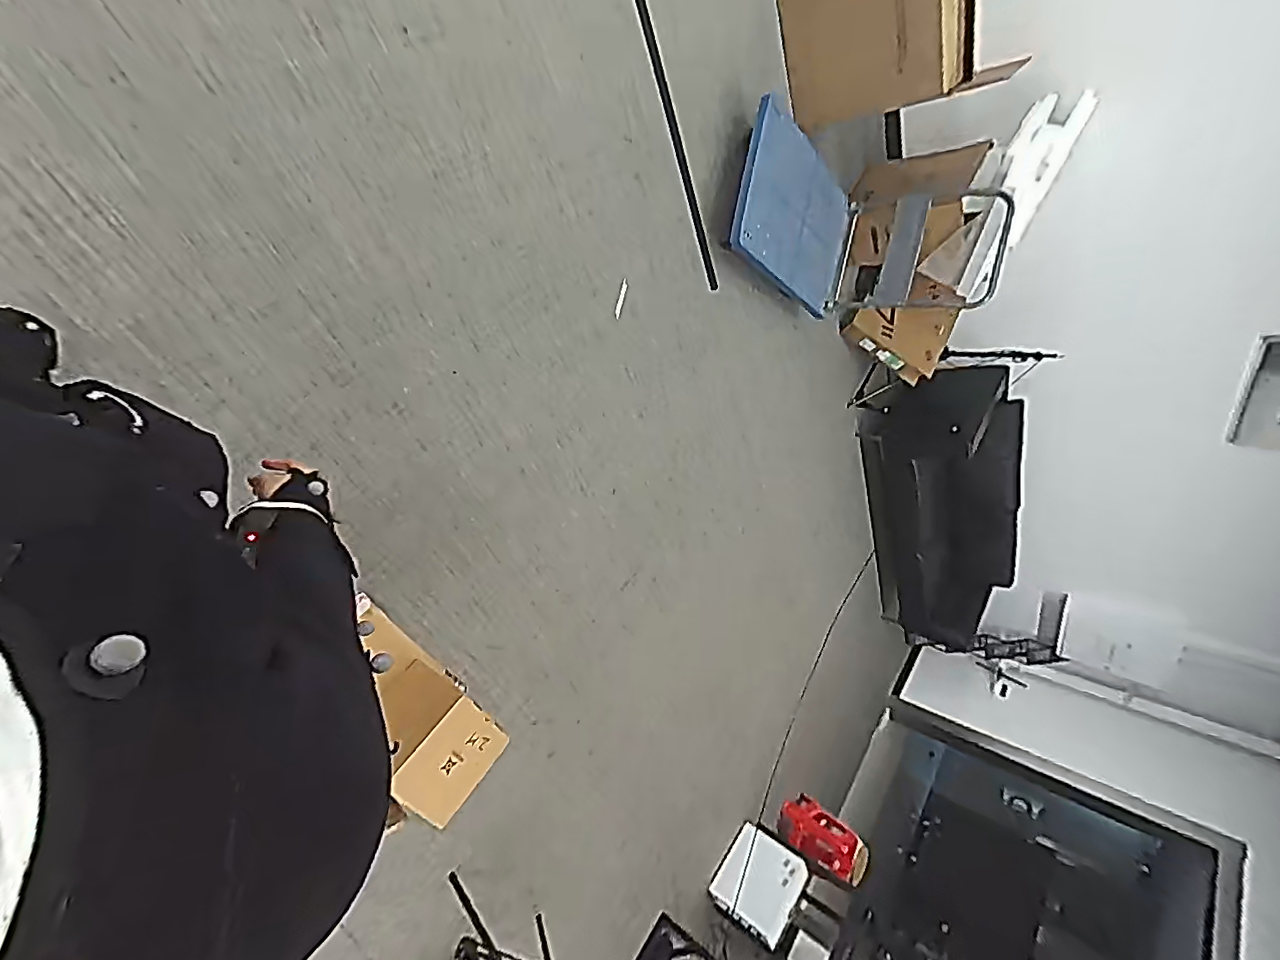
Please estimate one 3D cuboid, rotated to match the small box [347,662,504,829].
[{"bbox_3d":[-0.386,0.462,0.961,0.179,0.176,0.168,-49,131,-32],"label":"small box"}]
